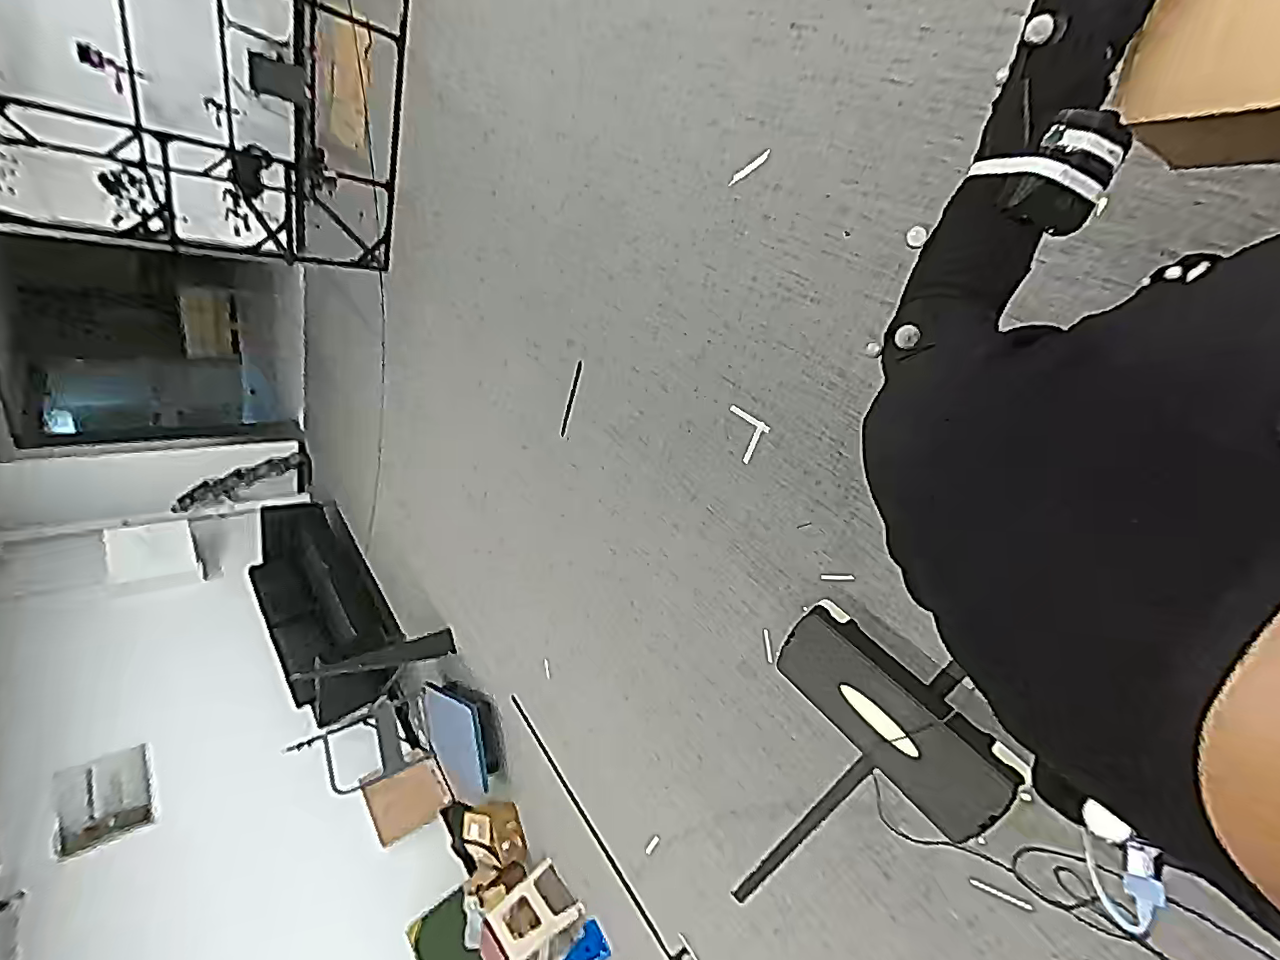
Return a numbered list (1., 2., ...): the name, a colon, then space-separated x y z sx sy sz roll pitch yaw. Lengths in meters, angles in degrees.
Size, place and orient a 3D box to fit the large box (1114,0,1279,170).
1. large box: 0.588 -0.388 0.303 0.408 0.320 0.320 23 122 43
